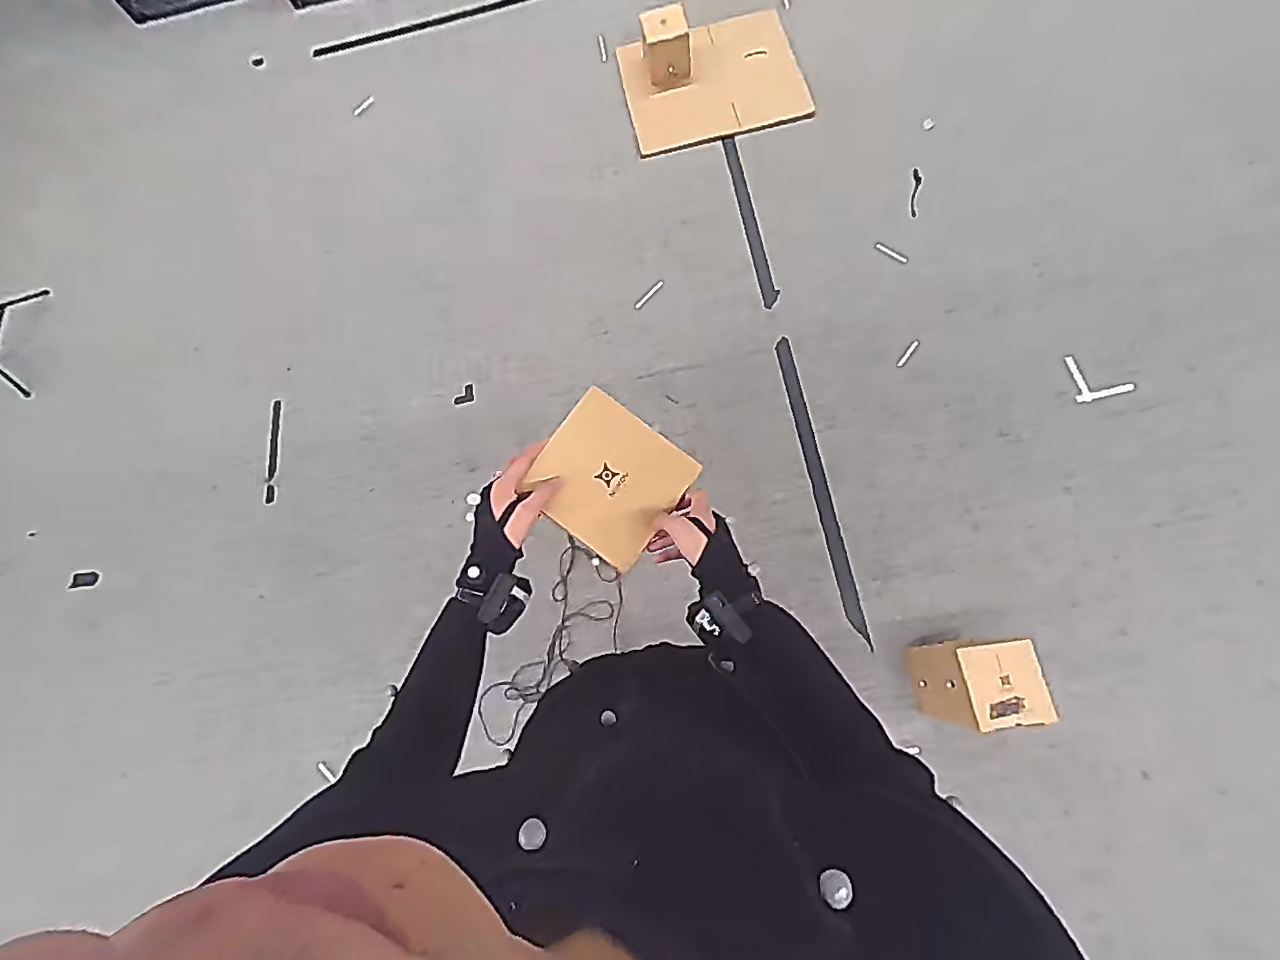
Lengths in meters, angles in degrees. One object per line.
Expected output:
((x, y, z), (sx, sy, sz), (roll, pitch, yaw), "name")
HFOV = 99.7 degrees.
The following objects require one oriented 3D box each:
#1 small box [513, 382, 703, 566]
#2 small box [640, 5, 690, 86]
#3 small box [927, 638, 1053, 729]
((-0.046, 0.001, 0.734), (0.179, 0.176, 0.168), (36, 81, -2), "small box")
((0.101, -1.737, 2.166), (0.168, 0.176, 0.179), (-13, 72, 4), "small box")
((0.806, 0.469, 1.264), (0.168, 0.176, 0.179), (-9, 72, 3), "small box")
